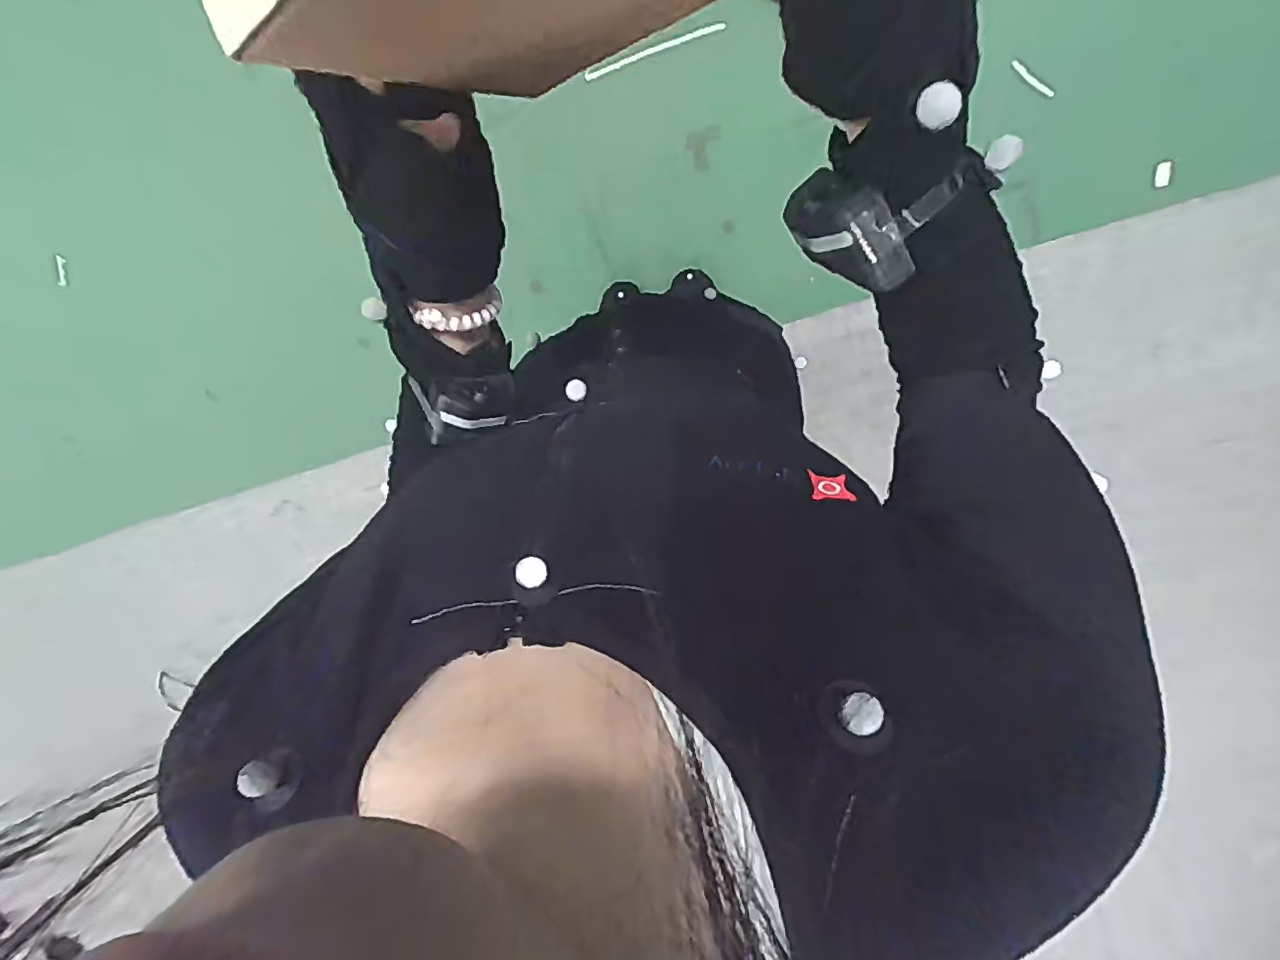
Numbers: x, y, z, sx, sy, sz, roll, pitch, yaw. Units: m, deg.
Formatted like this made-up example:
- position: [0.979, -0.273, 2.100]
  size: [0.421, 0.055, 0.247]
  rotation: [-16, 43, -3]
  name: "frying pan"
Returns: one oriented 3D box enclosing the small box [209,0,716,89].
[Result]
- position: [-0.059, -0.263, 0.188]
  size: [0.179, 0.176, 0.168]
  rotation: [4, 118, 36]
  name: "small box"
